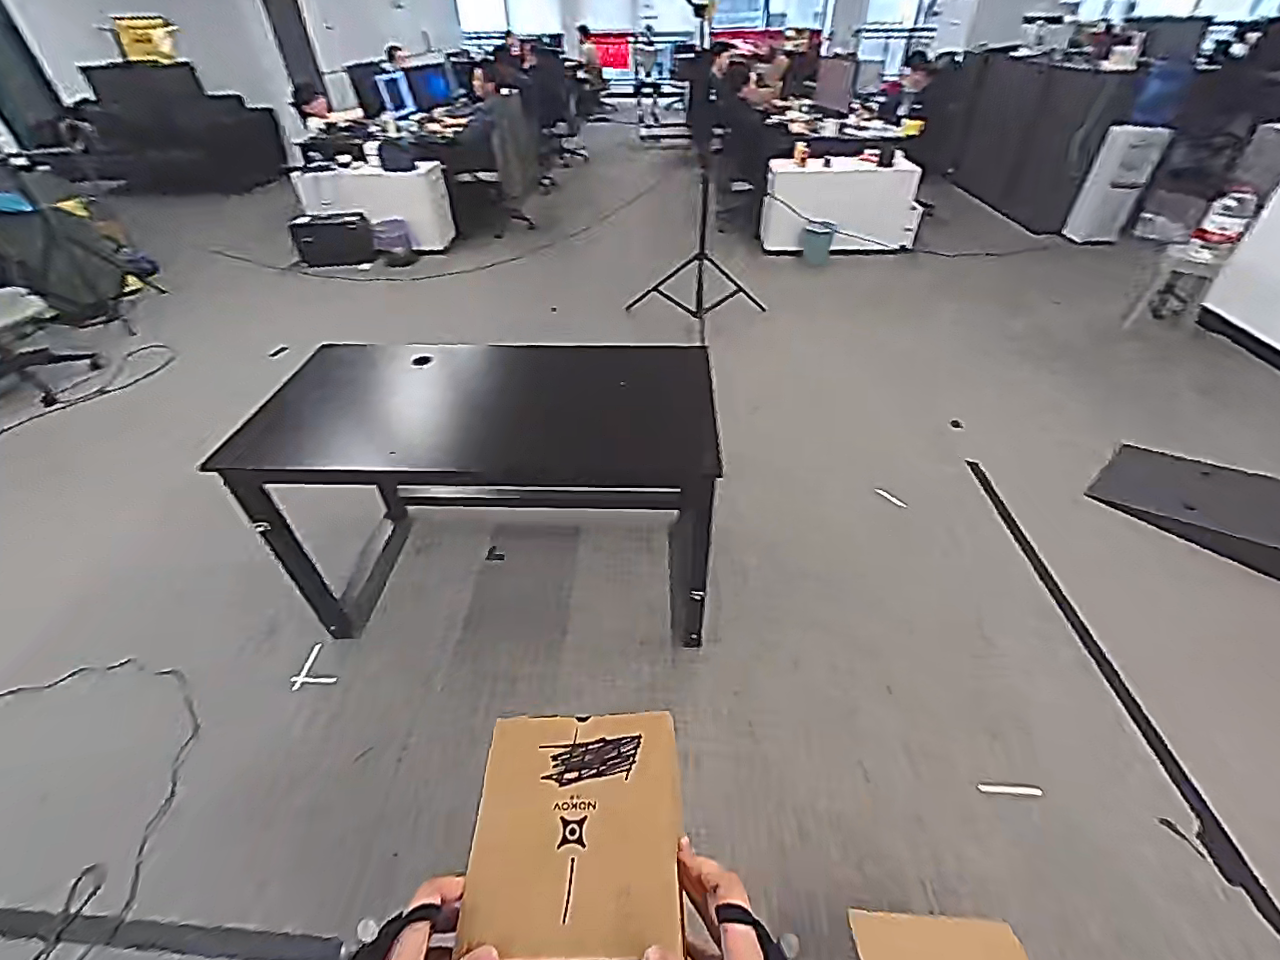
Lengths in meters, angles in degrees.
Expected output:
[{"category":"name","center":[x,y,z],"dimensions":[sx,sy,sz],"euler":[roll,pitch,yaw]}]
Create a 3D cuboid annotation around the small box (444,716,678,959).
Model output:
[{"category":"small box","center":[-0.054,0.343,0.498],"dimensions":[0.168,0.176,0.179],"euler":[-5,42,3]}]
